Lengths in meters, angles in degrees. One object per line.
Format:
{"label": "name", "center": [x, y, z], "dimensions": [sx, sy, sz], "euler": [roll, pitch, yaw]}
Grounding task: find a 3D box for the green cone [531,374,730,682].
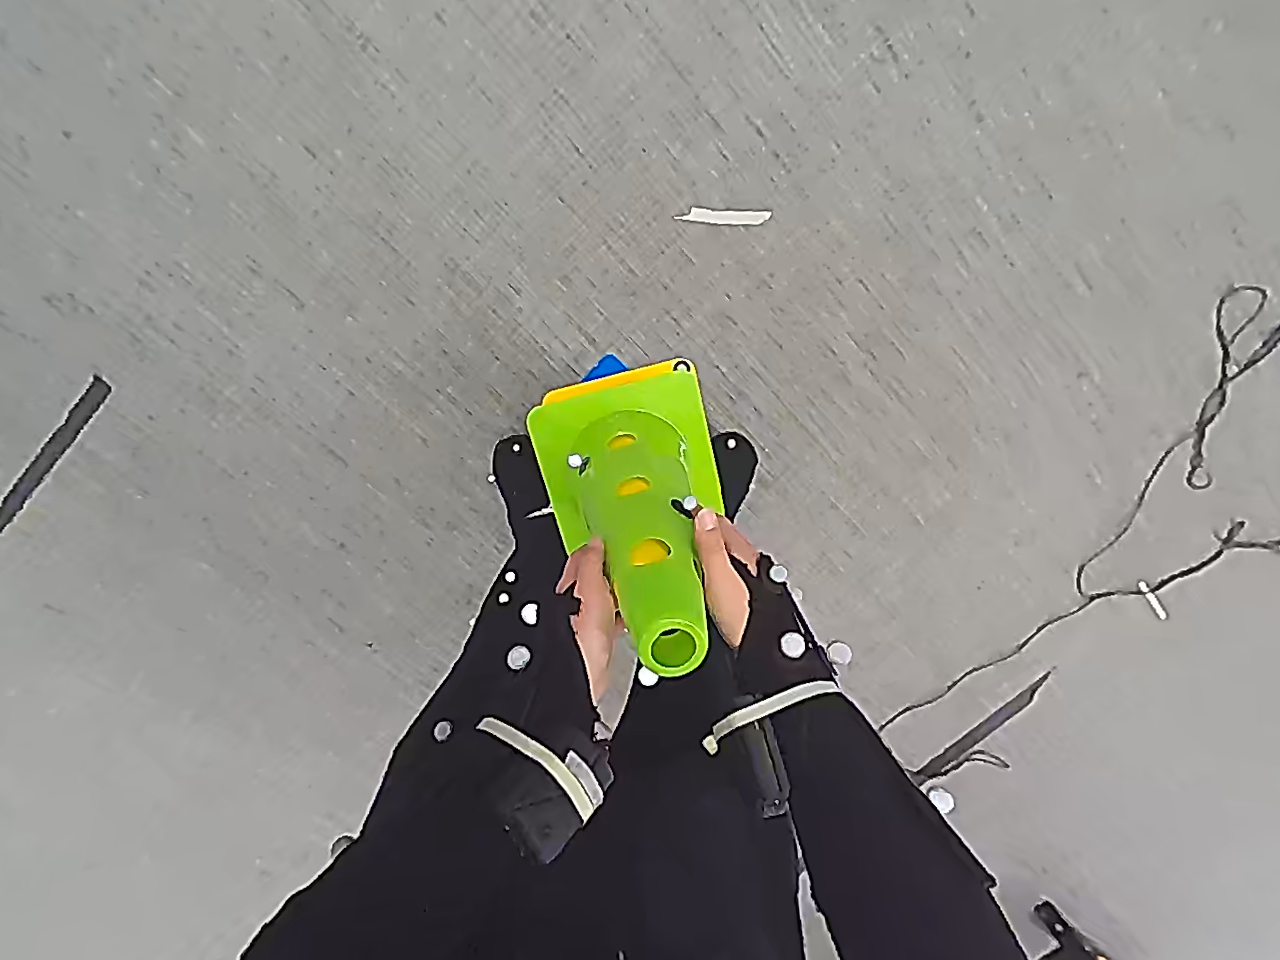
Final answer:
{"label": "green cone", "center": [0.005, 0.039, 0.466], "dimensions": [0.202, 0.368, 0.200], "euler": [-15, 107, 1]}
